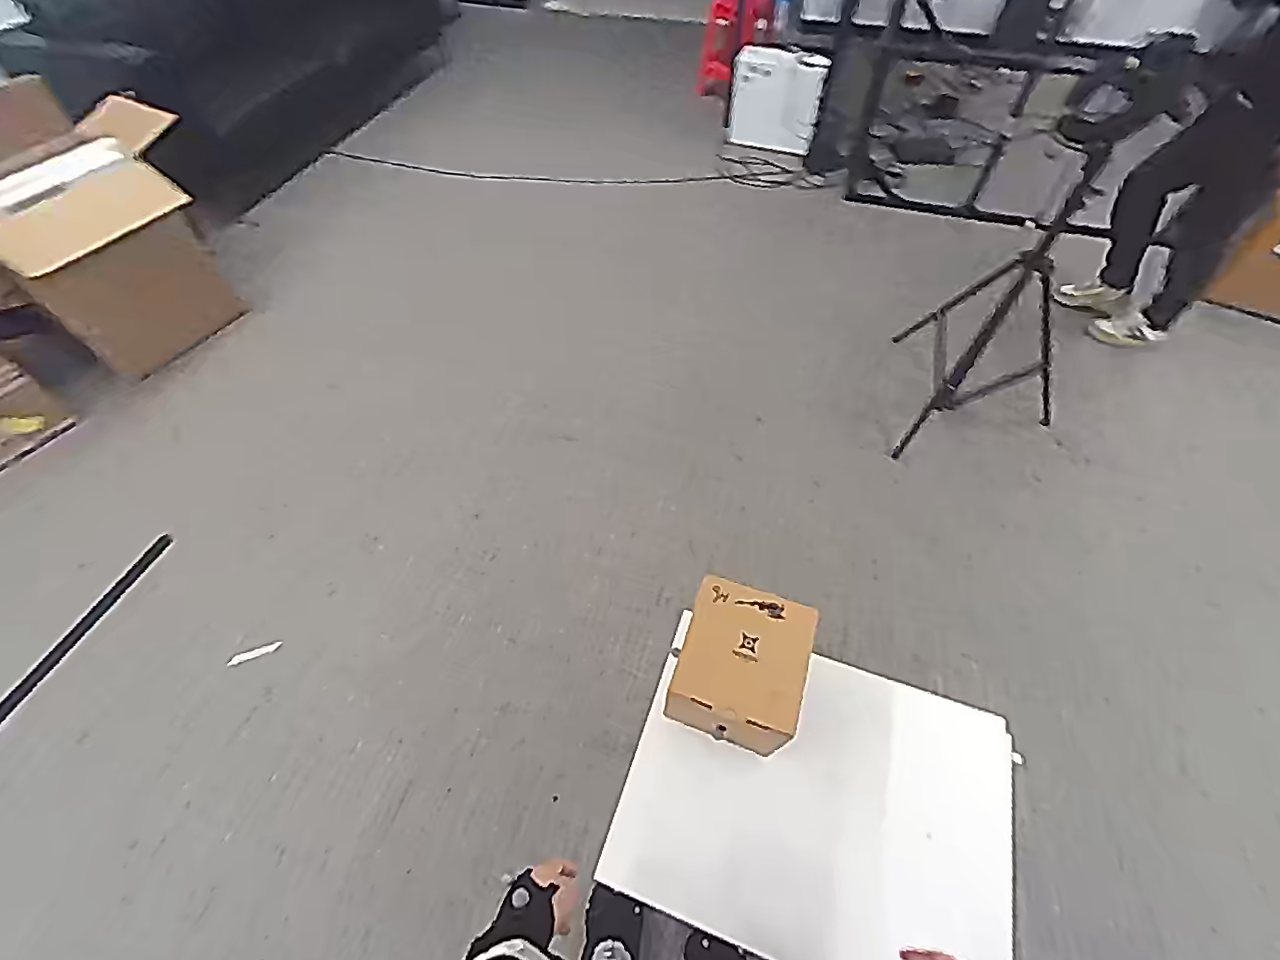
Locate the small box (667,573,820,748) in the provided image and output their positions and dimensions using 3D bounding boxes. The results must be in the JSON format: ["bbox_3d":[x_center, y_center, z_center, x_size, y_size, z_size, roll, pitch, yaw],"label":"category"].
[{"bbox_3d":[0.144,0.267,0.785,0.168,0.176,0.179,17,59,11],"label":"small box"}]
